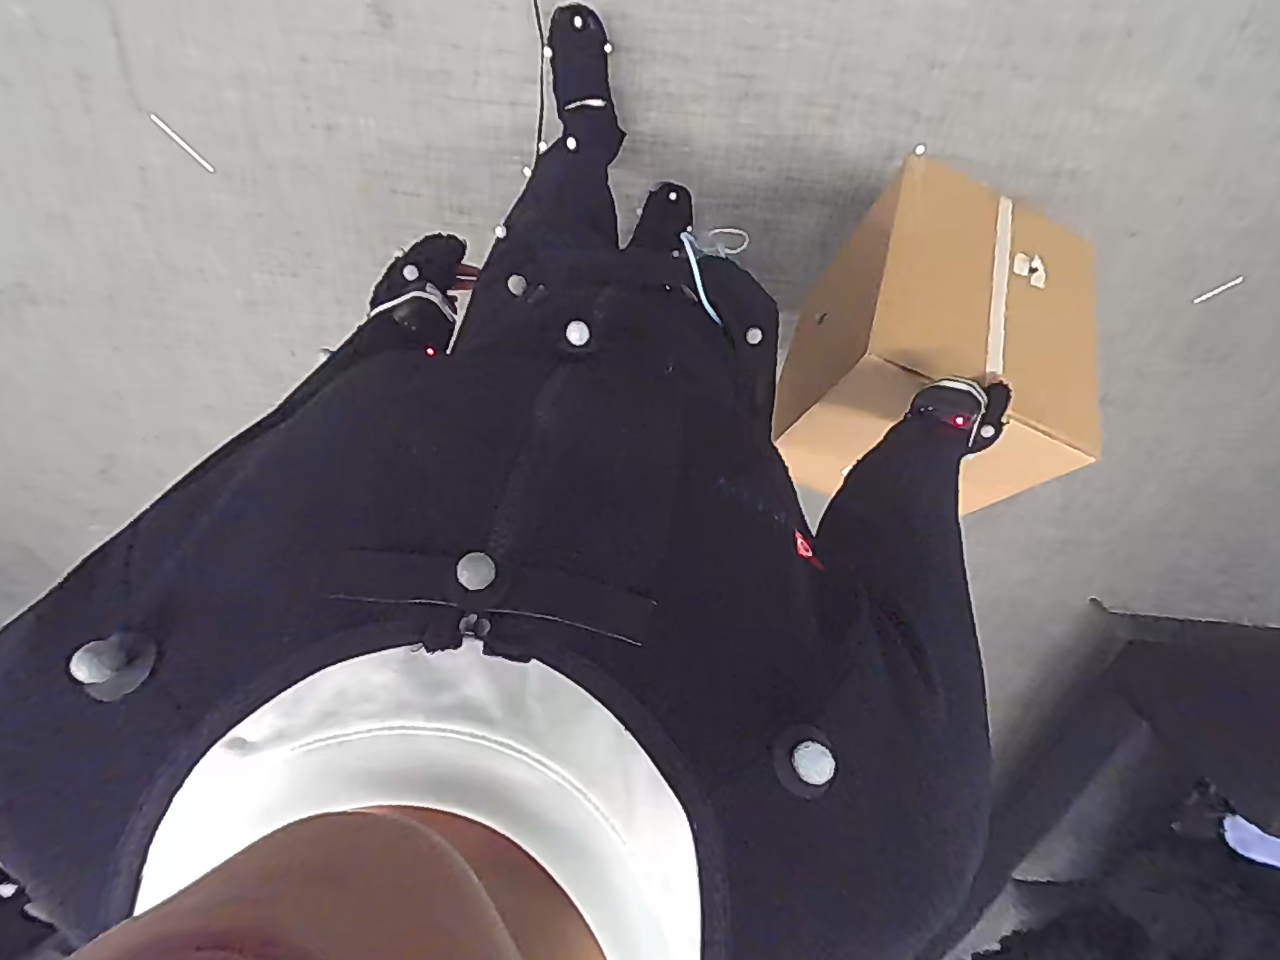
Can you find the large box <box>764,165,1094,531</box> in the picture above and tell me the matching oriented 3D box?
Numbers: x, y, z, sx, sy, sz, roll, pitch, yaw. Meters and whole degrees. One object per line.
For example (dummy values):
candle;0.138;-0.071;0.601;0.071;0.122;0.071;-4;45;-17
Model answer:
large box;0.435;-0.187;0.859;0.320;0.408;0.320;24;153;-4
